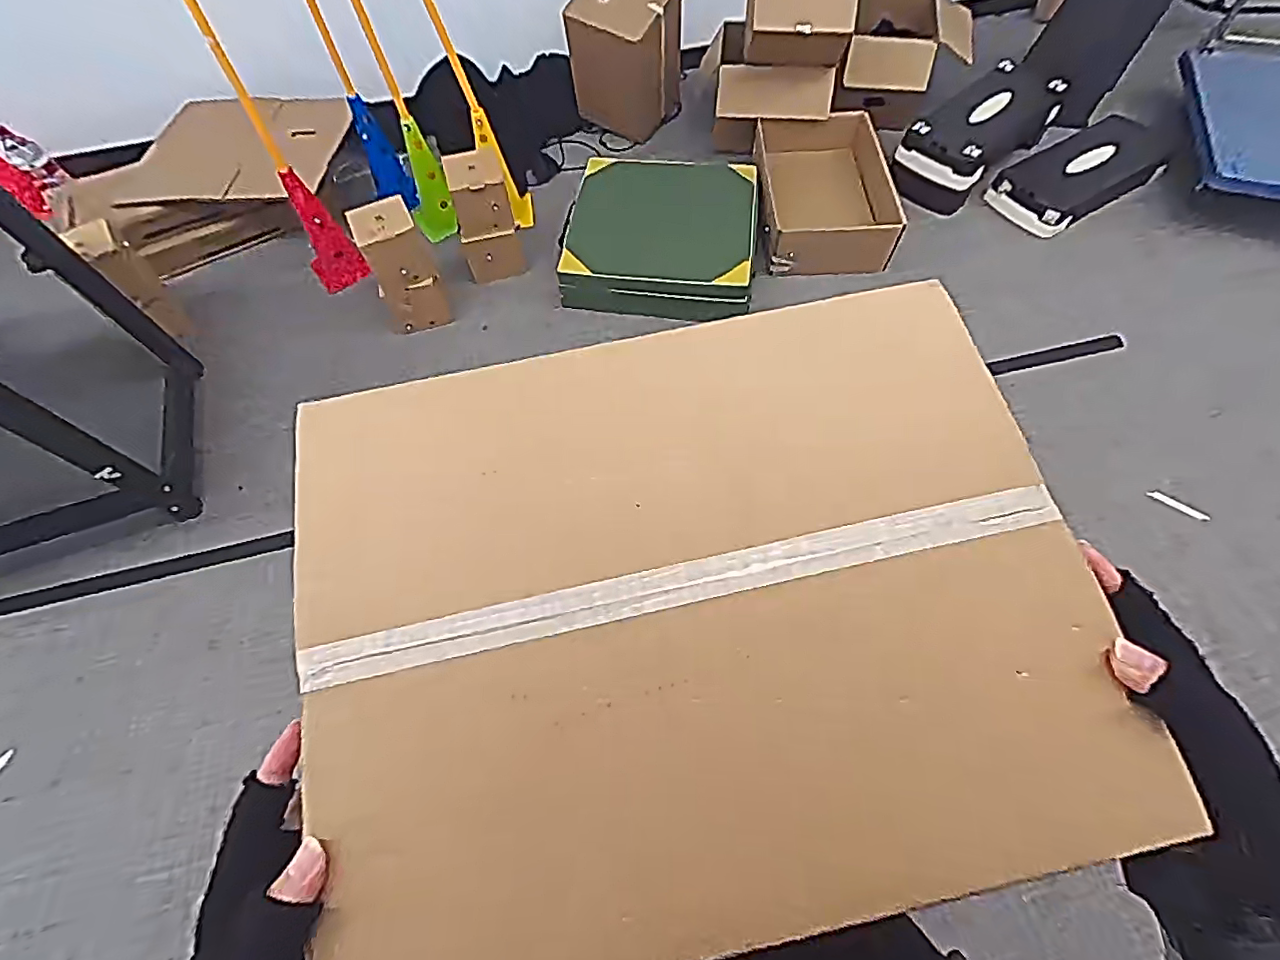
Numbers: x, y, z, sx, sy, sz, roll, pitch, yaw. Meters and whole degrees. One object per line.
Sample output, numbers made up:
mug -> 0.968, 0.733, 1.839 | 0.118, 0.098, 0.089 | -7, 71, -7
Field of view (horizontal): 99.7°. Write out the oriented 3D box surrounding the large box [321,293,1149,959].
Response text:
large box -> 0.026, 0.107, 0.441 | 0.408, 0.320, 0.320 | -12, 71, -3
